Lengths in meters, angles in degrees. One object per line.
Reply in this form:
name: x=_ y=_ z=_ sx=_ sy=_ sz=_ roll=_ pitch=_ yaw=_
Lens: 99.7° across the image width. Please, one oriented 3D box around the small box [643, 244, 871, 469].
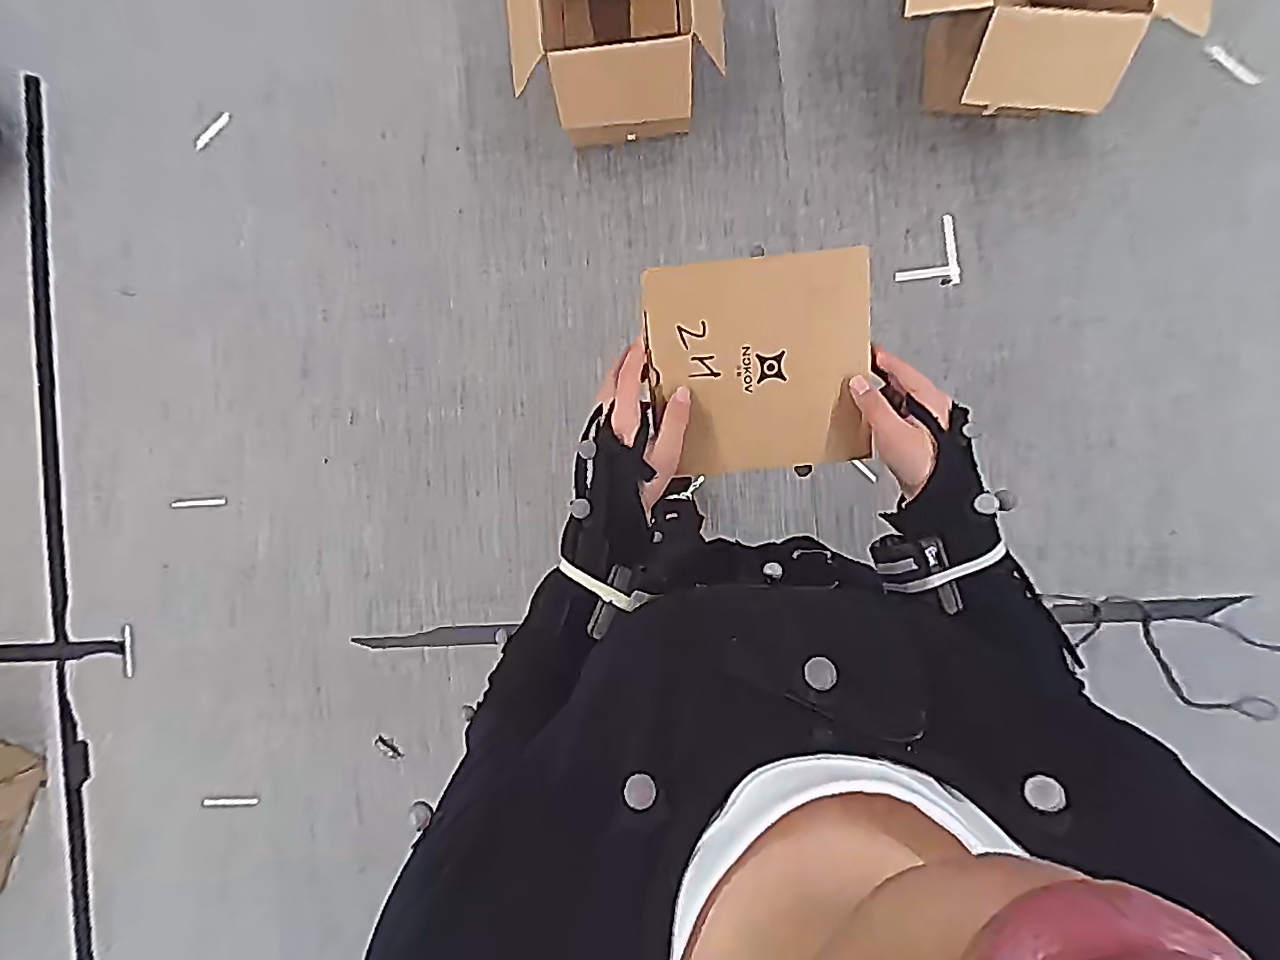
small box: x=0.095 y=-0.111 z=0.505 sx=0.179 sy=0.176 sz=0.168 roll=-5 pitch=102 yaw=2
